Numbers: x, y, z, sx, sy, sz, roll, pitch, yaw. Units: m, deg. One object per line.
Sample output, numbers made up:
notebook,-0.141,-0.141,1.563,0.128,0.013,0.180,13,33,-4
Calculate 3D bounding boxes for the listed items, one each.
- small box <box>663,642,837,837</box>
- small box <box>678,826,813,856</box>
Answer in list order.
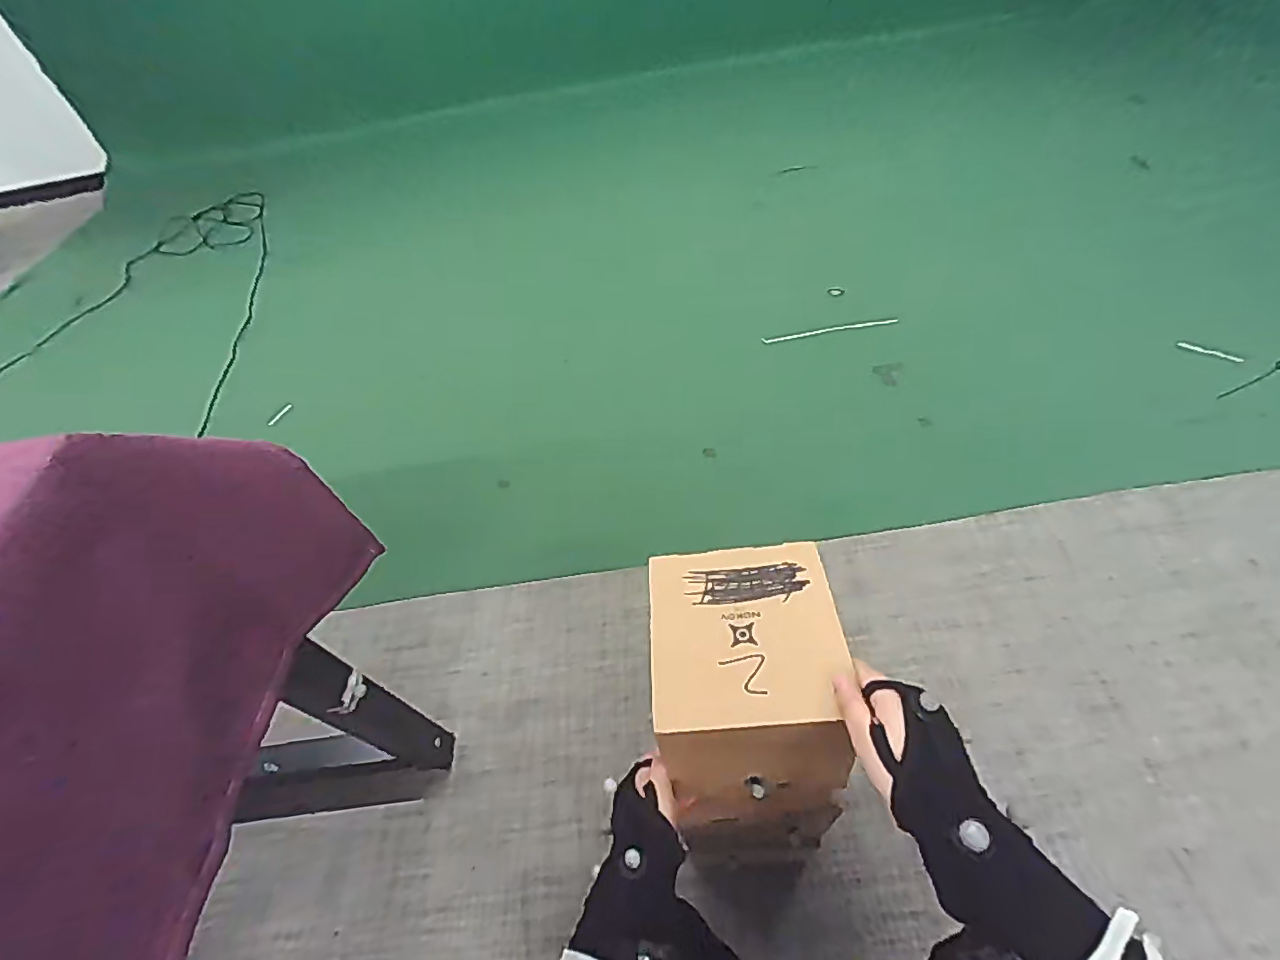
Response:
small box,0.120,0.316,0.649,0.168,0.176,0.179,-6,50,2
small box,0.140,0.425,0.768,0.168,0.176,0.179,-5,50,5
